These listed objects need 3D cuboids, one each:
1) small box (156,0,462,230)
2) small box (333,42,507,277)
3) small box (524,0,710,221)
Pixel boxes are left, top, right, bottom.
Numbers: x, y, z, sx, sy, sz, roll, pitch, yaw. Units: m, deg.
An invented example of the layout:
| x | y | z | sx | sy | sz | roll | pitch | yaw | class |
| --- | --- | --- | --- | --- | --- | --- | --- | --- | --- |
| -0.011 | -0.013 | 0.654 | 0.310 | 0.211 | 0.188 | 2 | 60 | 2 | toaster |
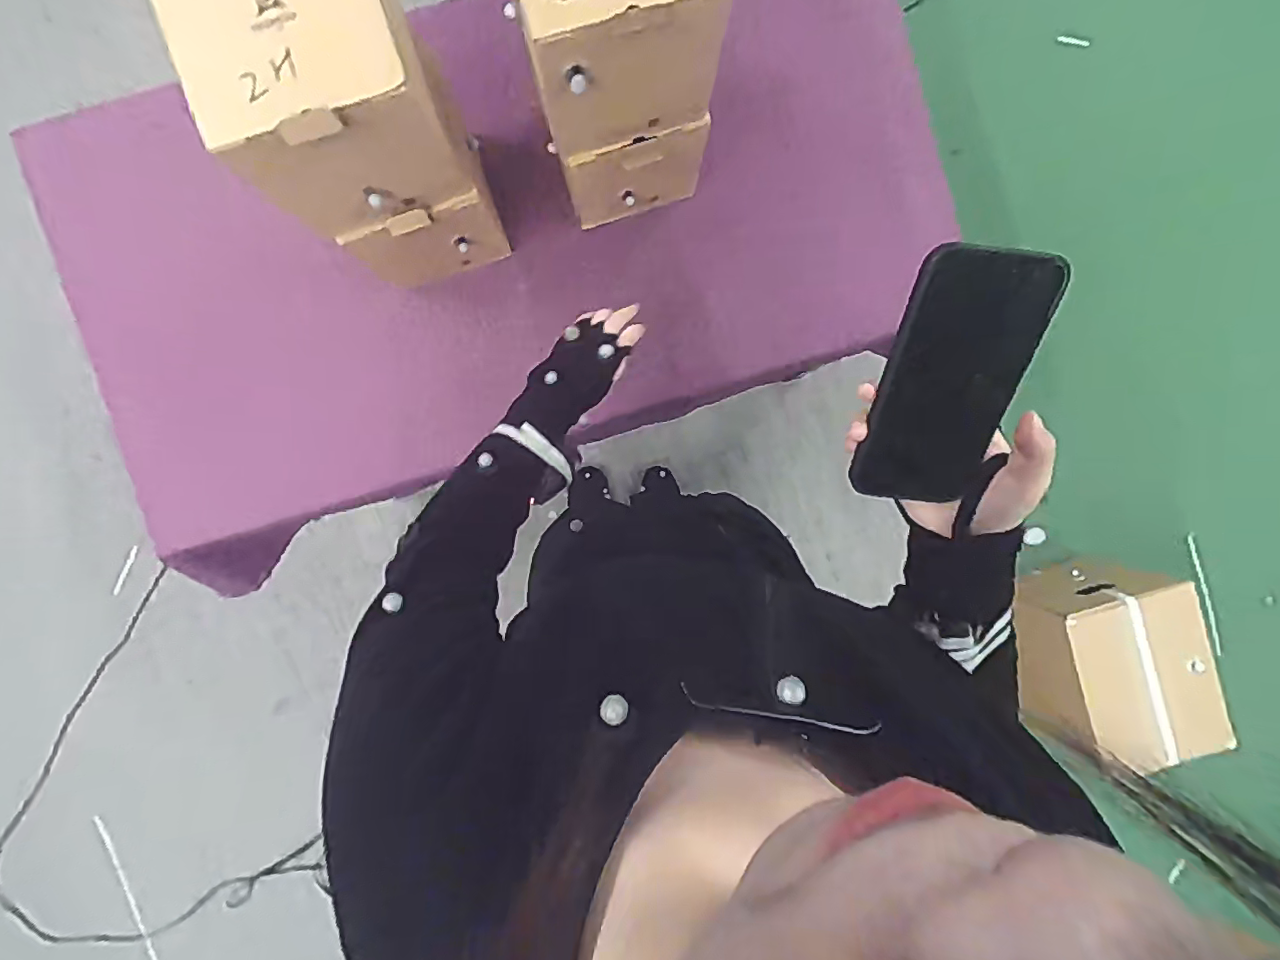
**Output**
| x | y | z | sx | sy | sz | roll | pitch | yaw | class |
| --- | --- | --- | --- | --- | --- | --- | --- | --- | --- |
| -0.288 | -0.368 | 0.498 | 0.168 | 0.176 | 0.179 | -18 | 93 | 0 | small box |
| -0.278 | -0.369 | 0.663 | 0.168 | 0.176 | 0.179 | -18 | 92 | 0 | small box |
| -0.027 | -0.456 | 0.663 | 0.168 | 0.176 | 0.179 | -18 | 94 | 0 | small box |
